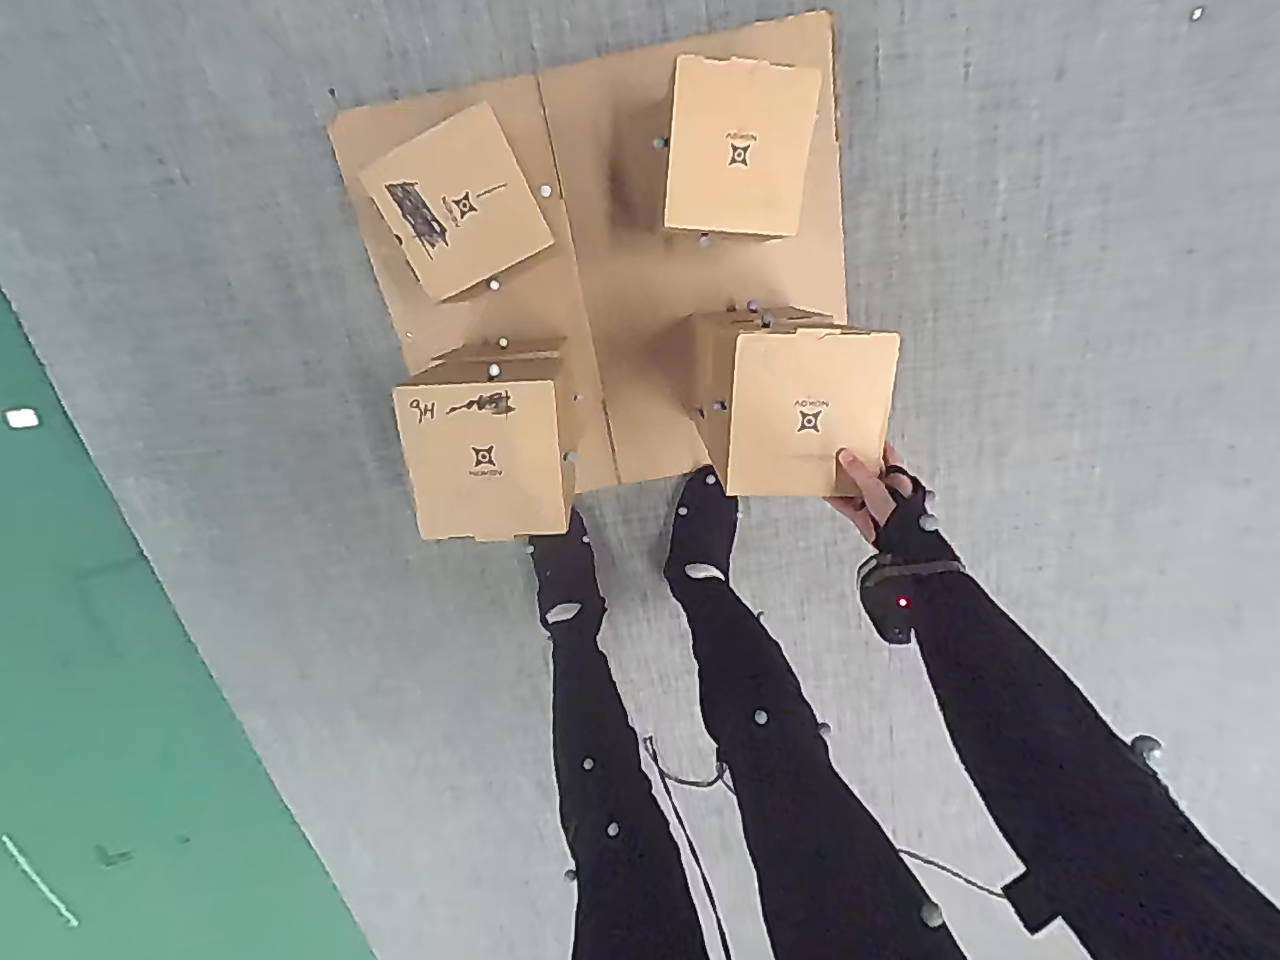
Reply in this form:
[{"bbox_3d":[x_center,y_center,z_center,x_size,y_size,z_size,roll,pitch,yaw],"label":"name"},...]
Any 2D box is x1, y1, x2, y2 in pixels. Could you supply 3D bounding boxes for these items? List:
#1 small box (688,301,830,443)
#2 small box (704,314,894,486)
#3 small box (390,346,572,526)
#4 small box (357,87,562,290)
[{"bbox_3d":[0.163,-0.164,0.794,0.168,0.176,0.179,-3,111,-1],"label":"small box"},{"bbox_3d":[0.170,-0.102,0.639,0.168,0.176,0.179,1,109,-1],"label":"small box"},{"bbox_3d":[-0.173,-0.060,0.650,0.168,0.176,0.179,-2,111,-2],"label":"small box"},{"bbox_3d":[-0.218,-0.362,0.709,0.179,0.176,0.168,-23,110,6],"label":"small box"}]
